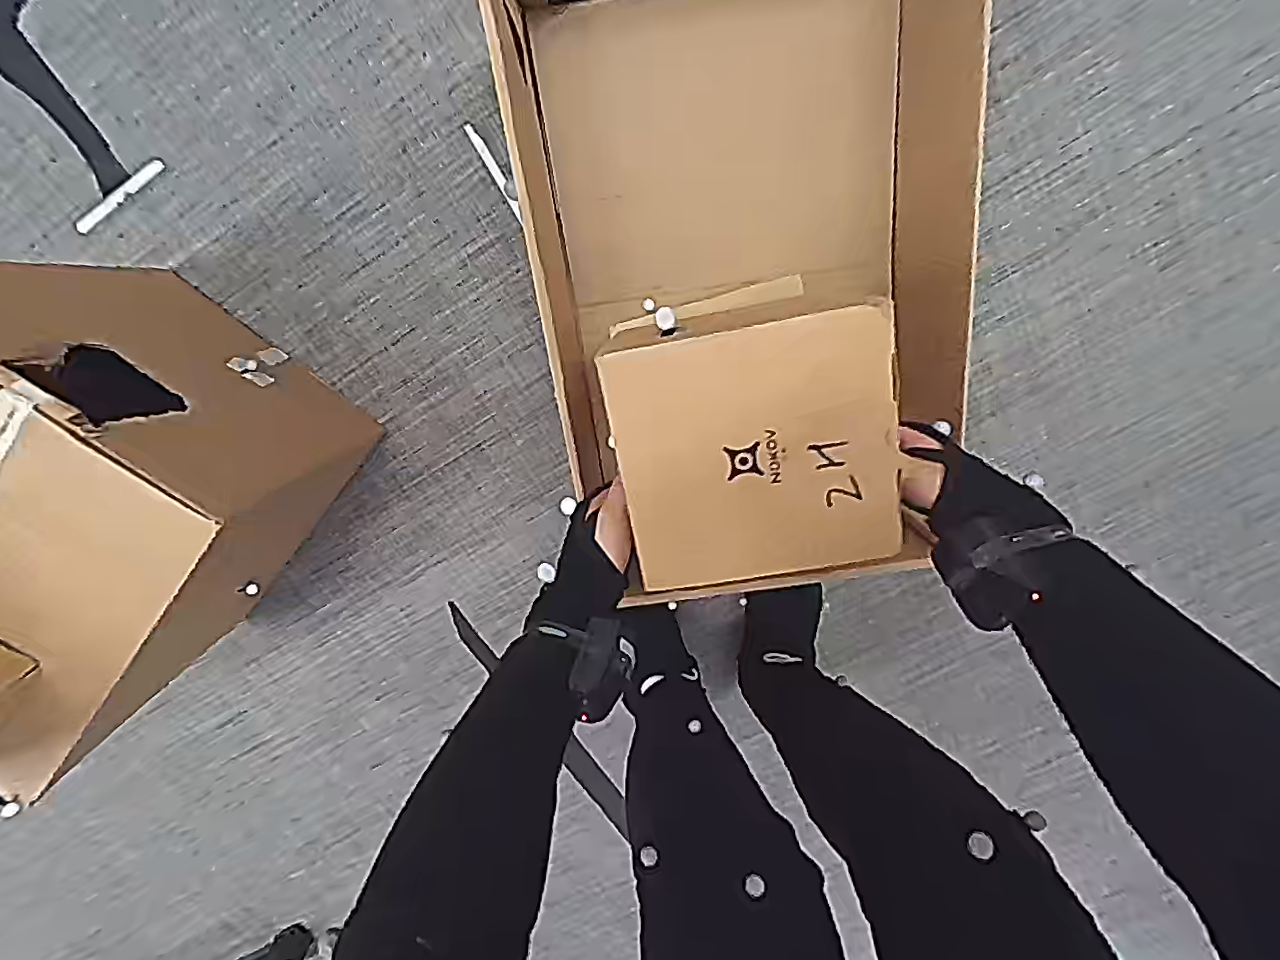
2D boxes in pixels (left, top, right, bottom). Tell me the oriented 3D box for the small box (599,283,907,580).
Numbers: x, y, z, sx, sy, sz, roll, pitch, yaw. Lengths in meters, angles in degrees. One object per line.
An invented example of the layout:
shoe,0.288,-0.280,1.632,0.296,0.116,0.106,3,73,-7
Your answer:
small box,0.078,-0.047,0.411,0.179,0.176,0.168,-10,109,5
